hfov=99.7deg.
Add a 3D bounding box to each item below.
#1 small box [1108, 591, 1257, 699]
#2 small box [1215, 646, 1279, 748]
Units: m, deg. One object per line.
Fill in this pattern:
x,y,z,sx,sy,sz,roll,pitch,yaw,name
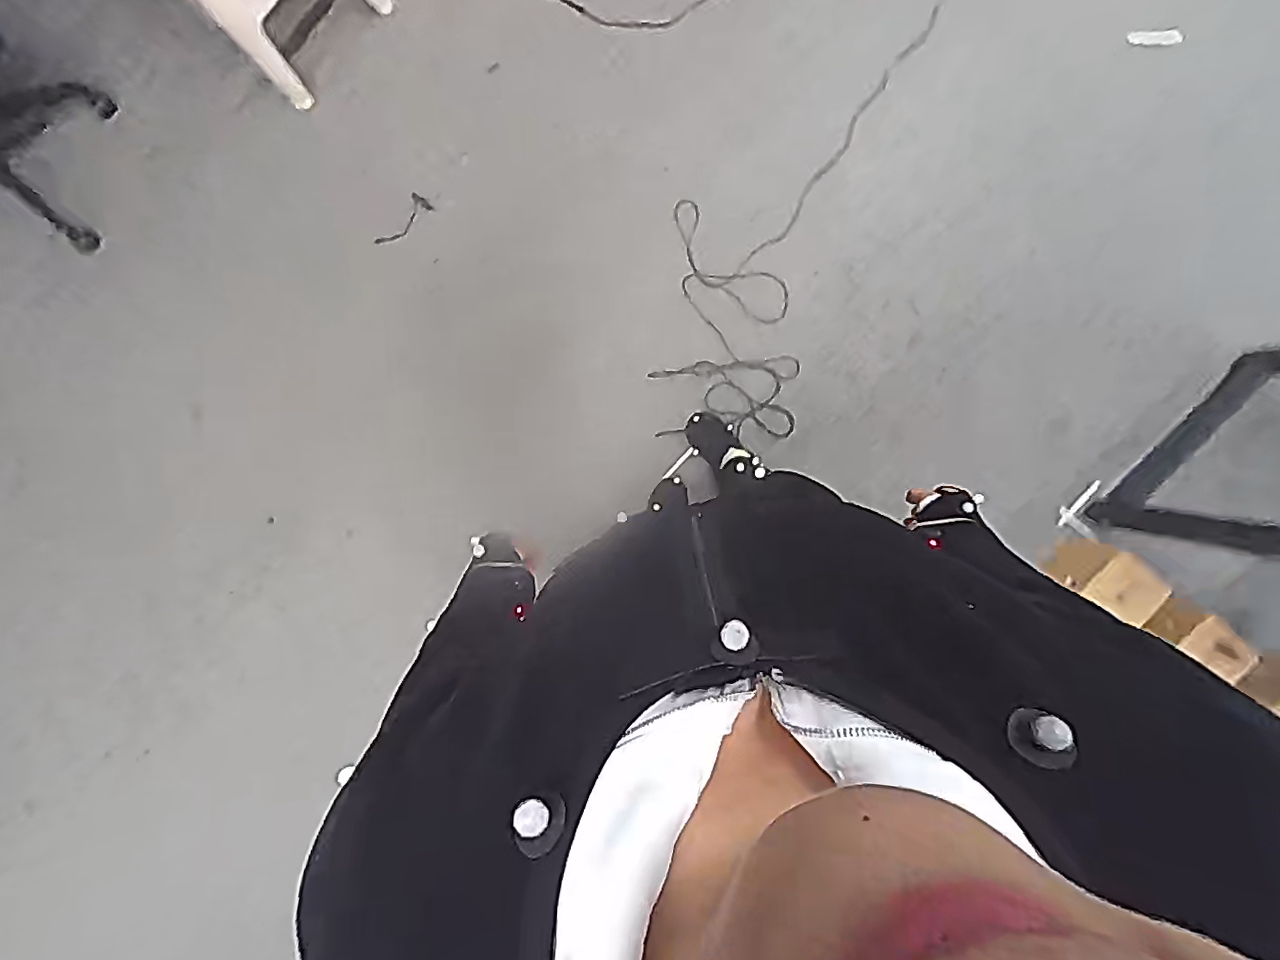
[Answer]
1.379,0.413,1.389,0.168,0.176,0.179,41,96,0,small box
1.642,0.560,1.388,0.168,0.176,0.179,-27,91,3,small box
